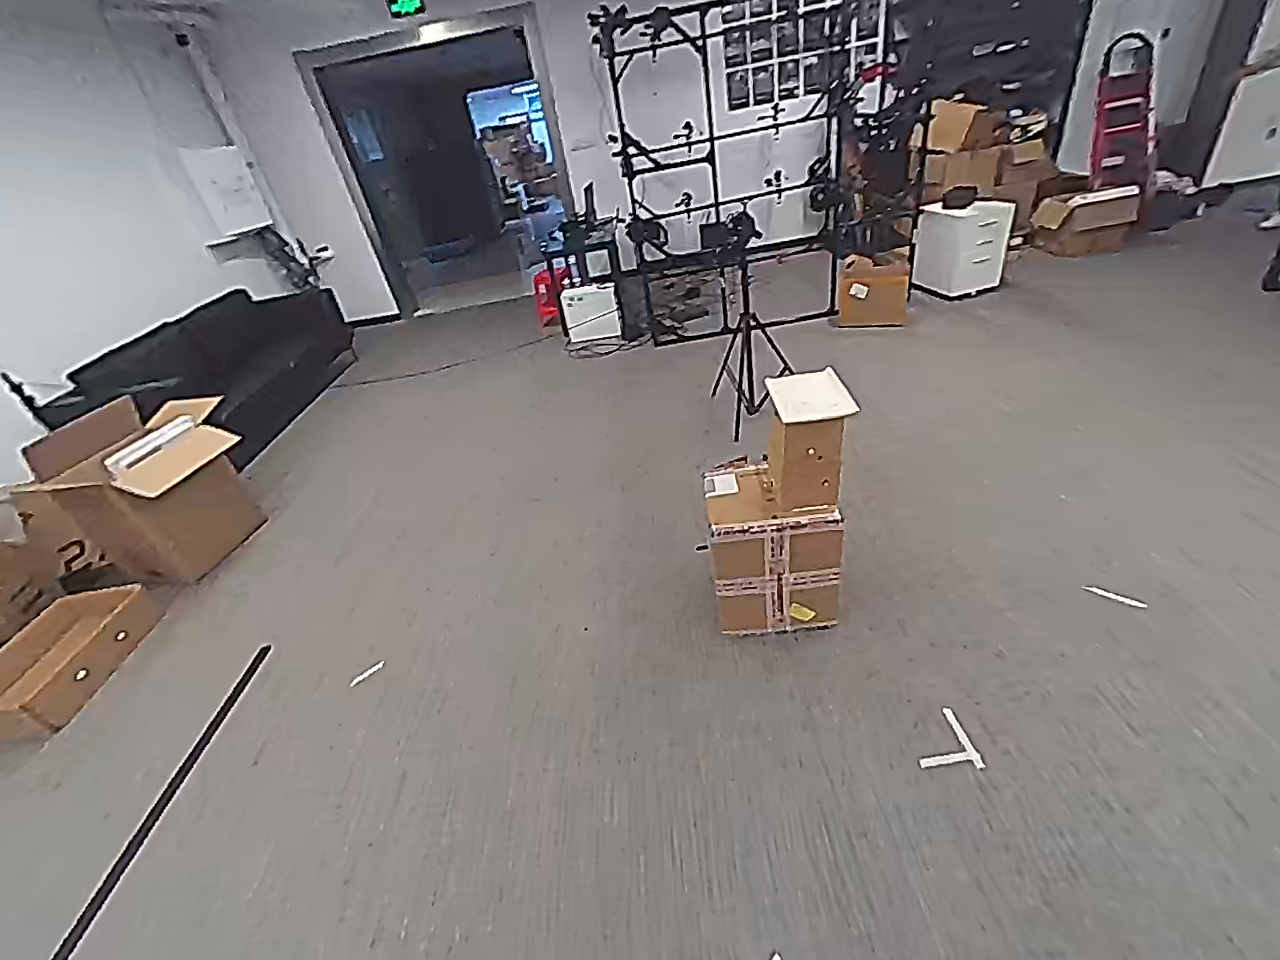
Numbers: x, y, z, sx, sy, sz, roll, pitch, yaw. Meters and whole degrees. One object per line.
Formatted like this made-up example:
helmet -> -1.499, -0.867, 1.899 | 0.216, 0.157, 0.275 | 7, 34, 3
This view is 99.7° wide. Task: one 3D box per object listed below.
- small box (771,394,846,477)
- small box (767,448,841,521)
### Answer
small box -> 0.474, -0.128, 1.548 | 0.168, 0.176, 0.179 | -6, 36, 4
small box -> 0.491, 0.006, 1.642 | 0.179, 0.176, 0.168 | -8, 35, 1
